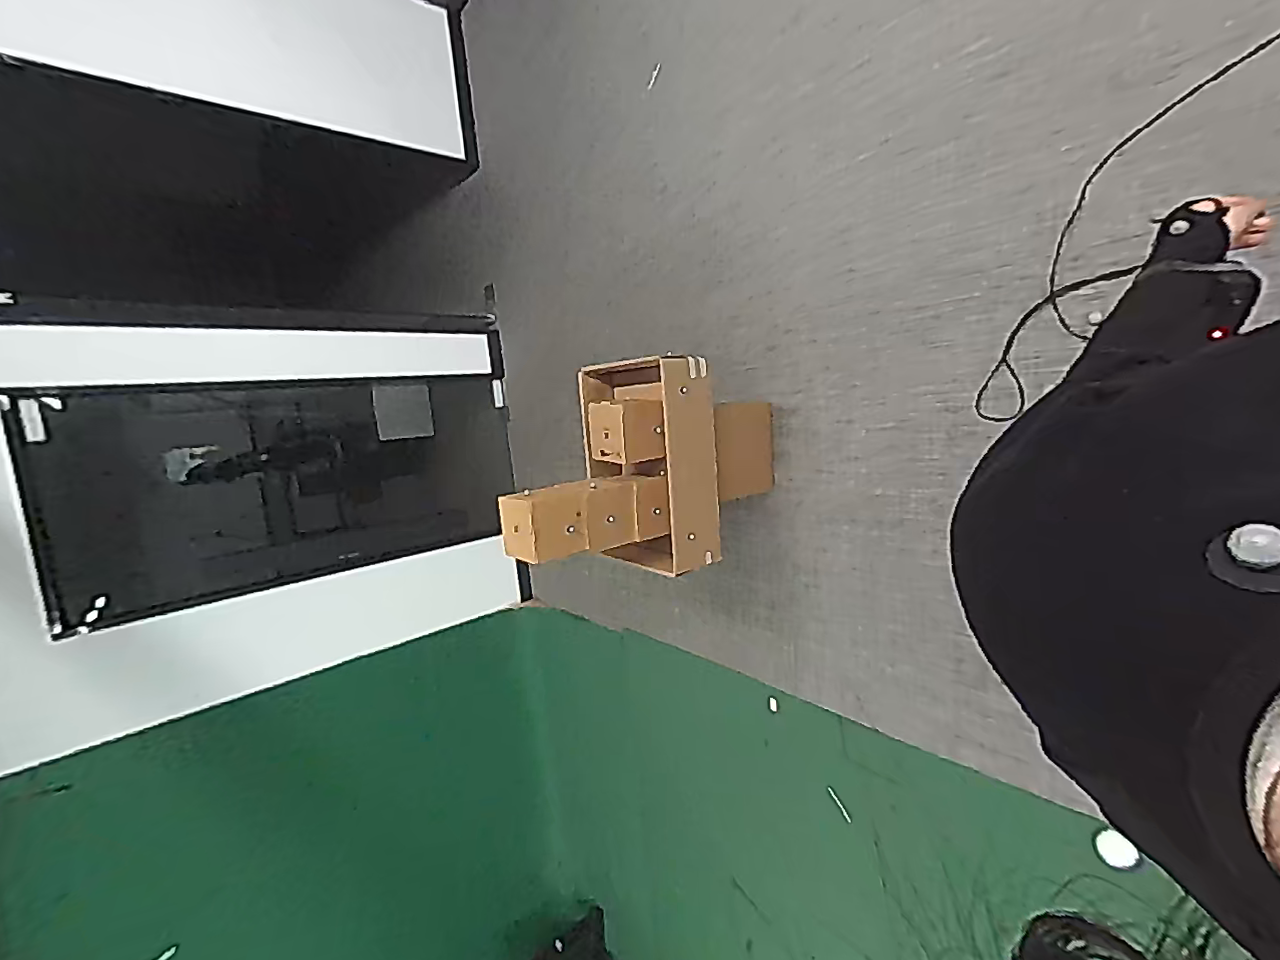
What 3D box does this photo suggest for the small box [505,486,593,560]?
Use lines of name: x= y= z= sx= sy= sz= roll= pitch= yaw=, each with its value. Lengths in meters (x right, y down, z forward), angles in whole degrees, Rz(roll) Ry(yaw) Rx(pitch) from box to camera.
small box: x=-0.246 y=0.110 z=1.471 sx=0.179 sy=0.176 sz=0.168 roll=3 pitch=100 yaw=50
